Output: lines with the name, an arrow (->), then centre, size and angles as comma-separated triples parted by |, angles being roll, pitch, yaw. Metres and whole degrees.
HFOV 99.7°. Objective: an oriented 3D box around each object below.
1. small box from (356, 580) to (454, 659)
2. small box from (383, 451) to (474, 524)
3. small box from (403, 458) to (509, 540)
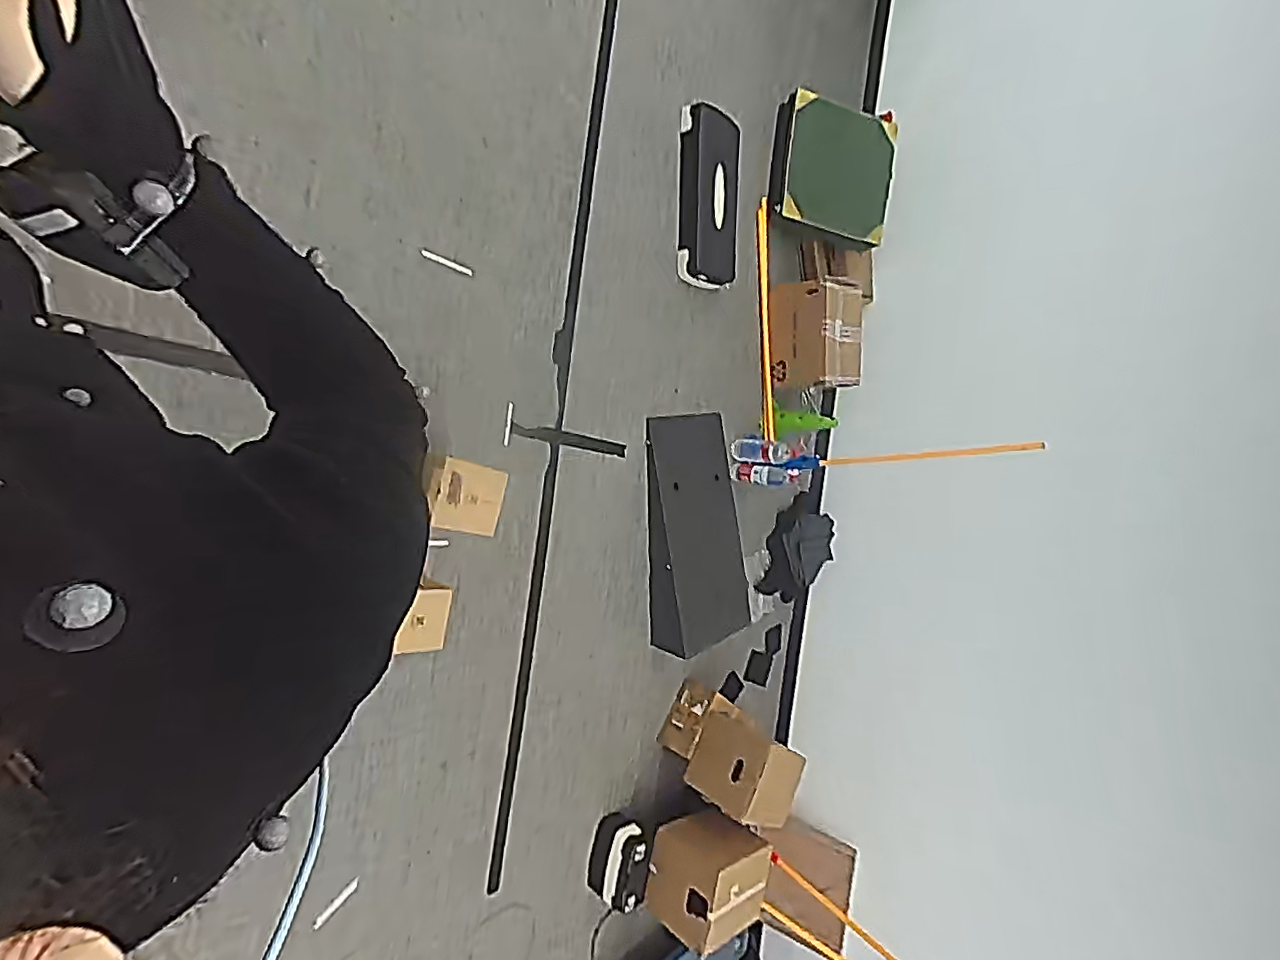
small box -> -0.634, 0.368, 1.456 | 0.179, 0.176, 0.168 | 12, 87, -46
small box -> -0.575, 0.025, 1.468 | 0.168, 0.176, 0.179 | 12, 88, -46
small box -> -0.462, 0.045, 1.349 | 0.179, 0.176, 0.168 | 18, 83, -46
